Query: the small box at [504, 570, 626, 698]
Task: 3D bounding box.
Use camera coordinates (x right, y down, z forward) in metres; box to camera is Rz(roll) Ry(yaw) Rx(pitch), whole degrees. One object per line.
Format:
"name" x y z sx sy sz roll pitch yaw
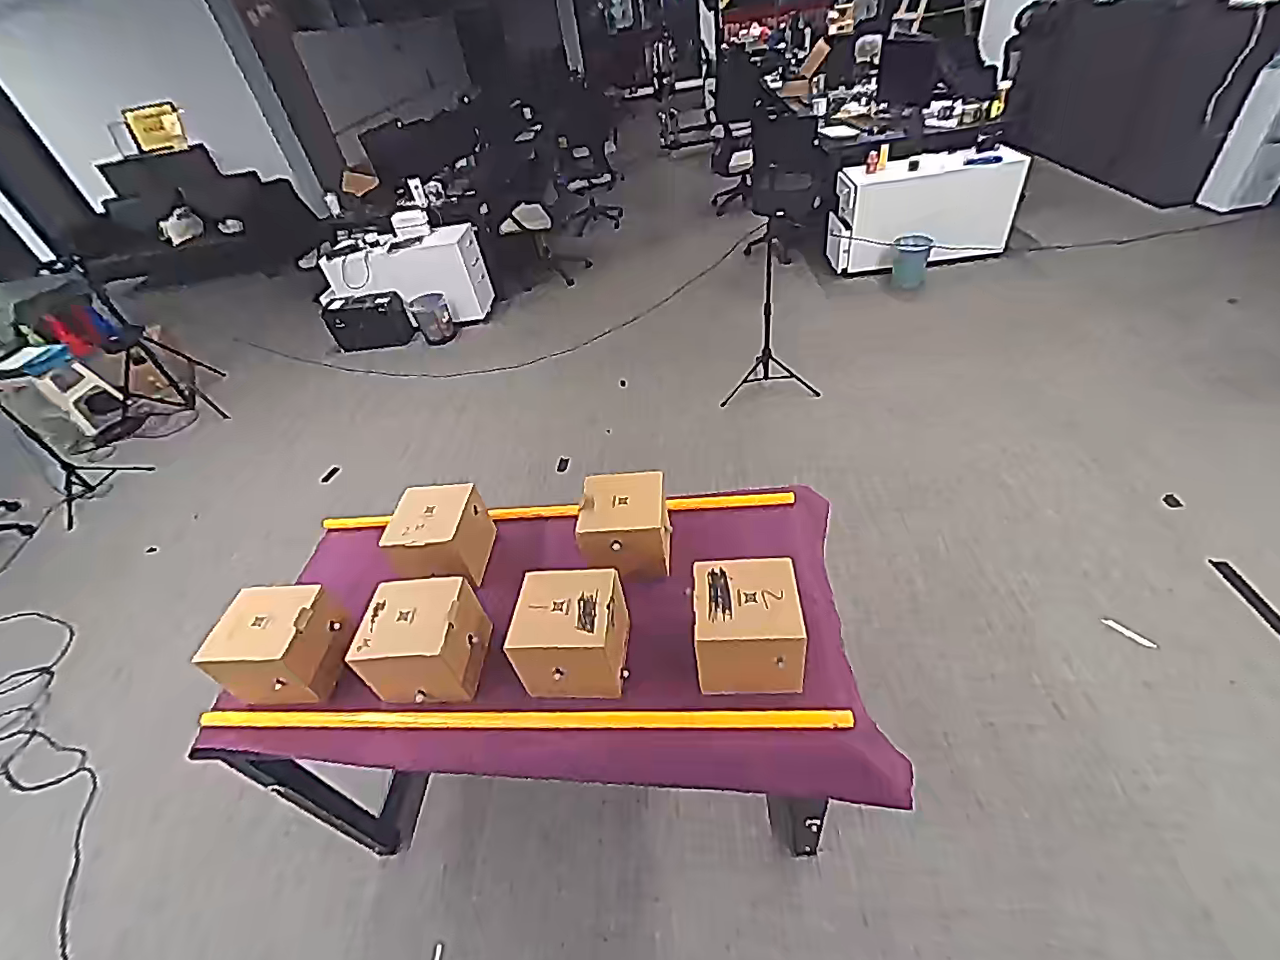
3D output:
"small box" -0.125 0.284 0.996 0.179 0.176 0.168 -4 40 8

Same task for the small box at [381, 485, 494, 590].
"small box" -0.449 0.133 1.234 0.168 0.176 0.179 -4 44 8

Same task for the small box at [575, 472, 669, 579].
"small box" -0.030 0.102 1.180 0.179 0.176 0.168 -5 43 8

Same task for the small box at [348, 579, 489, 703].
"small box" -0.406 0.309 1.032 0.179 0.176 0.168 -5 42 6

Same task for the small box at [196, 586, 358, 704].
"small box" -0.699 0.328 1.069 0.179 0.176 0.168 -3 42 5
